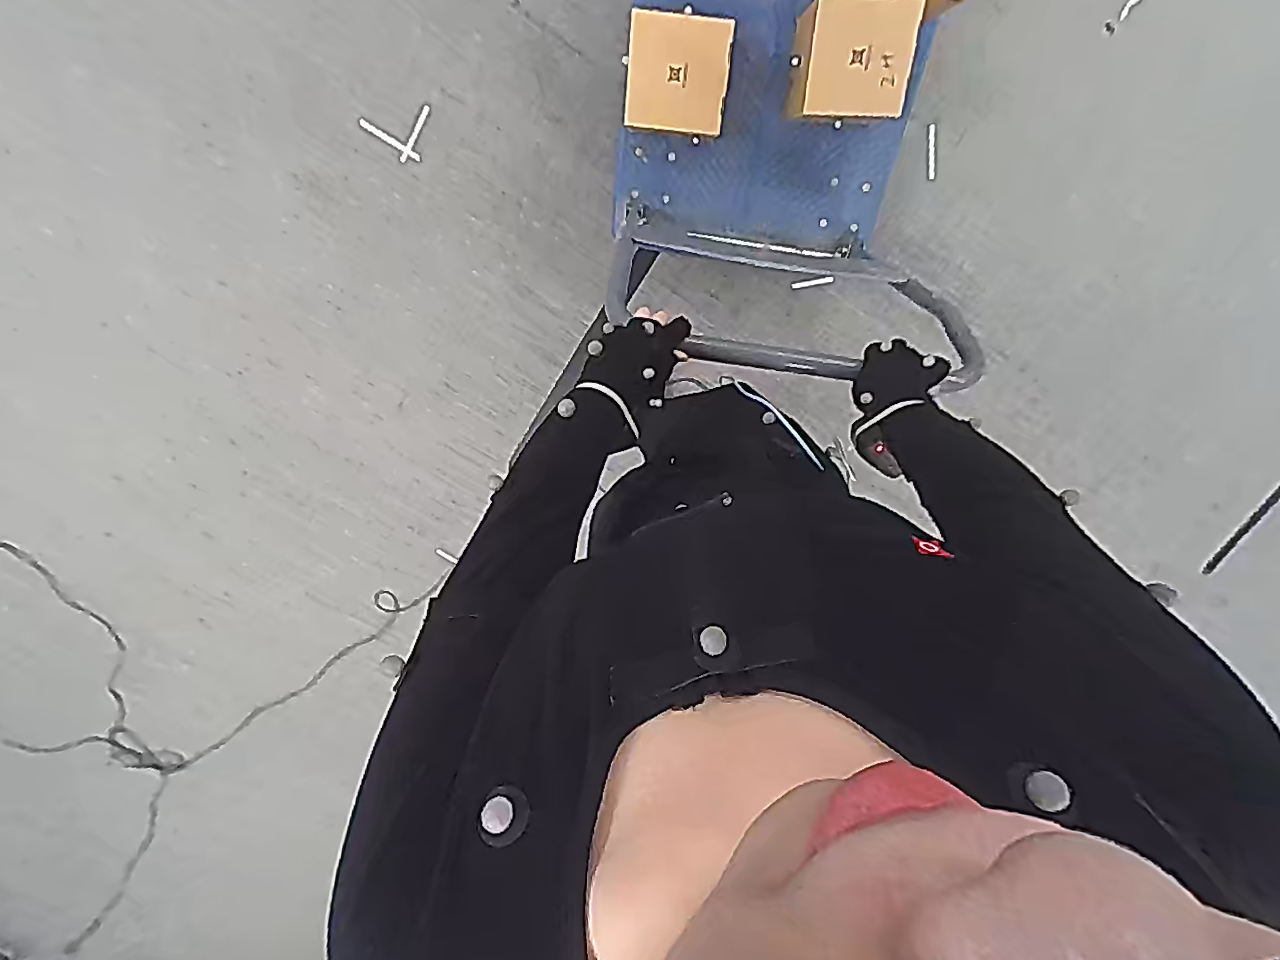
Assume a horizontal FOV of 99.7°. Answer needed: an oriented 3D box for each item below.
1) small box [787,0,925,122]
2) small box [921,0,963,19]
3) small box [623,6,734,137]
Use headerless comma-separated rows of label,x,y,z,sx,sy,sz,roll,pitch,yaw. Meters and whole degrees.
small box,0.376,-0.755,0.982,0.179,0.176,0.168,3,121,1
small box,0.476,-0.907,0.889,0.168,0.176,0.179,16,120,-6
small box,0.065,-0.743,1.003,0.179,0.176,0.168,5,120,-2
